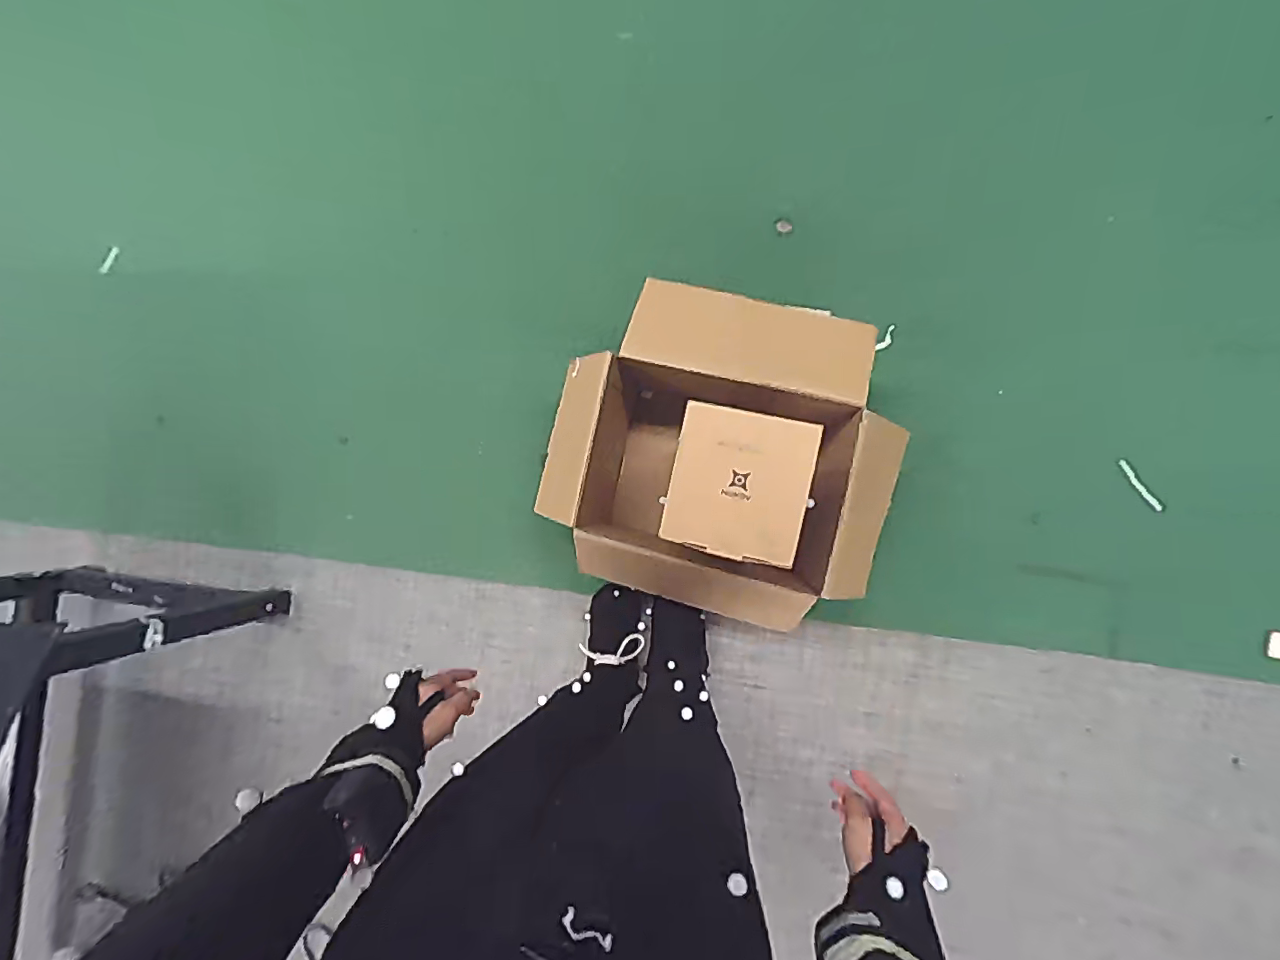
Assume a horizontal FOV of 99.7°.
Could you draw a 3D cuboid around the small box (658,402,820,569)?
[{"bbox_3d":[0.128,0.008,0.728,0.168,0.176,0.179,12,89,8],"label":"small box"}]
